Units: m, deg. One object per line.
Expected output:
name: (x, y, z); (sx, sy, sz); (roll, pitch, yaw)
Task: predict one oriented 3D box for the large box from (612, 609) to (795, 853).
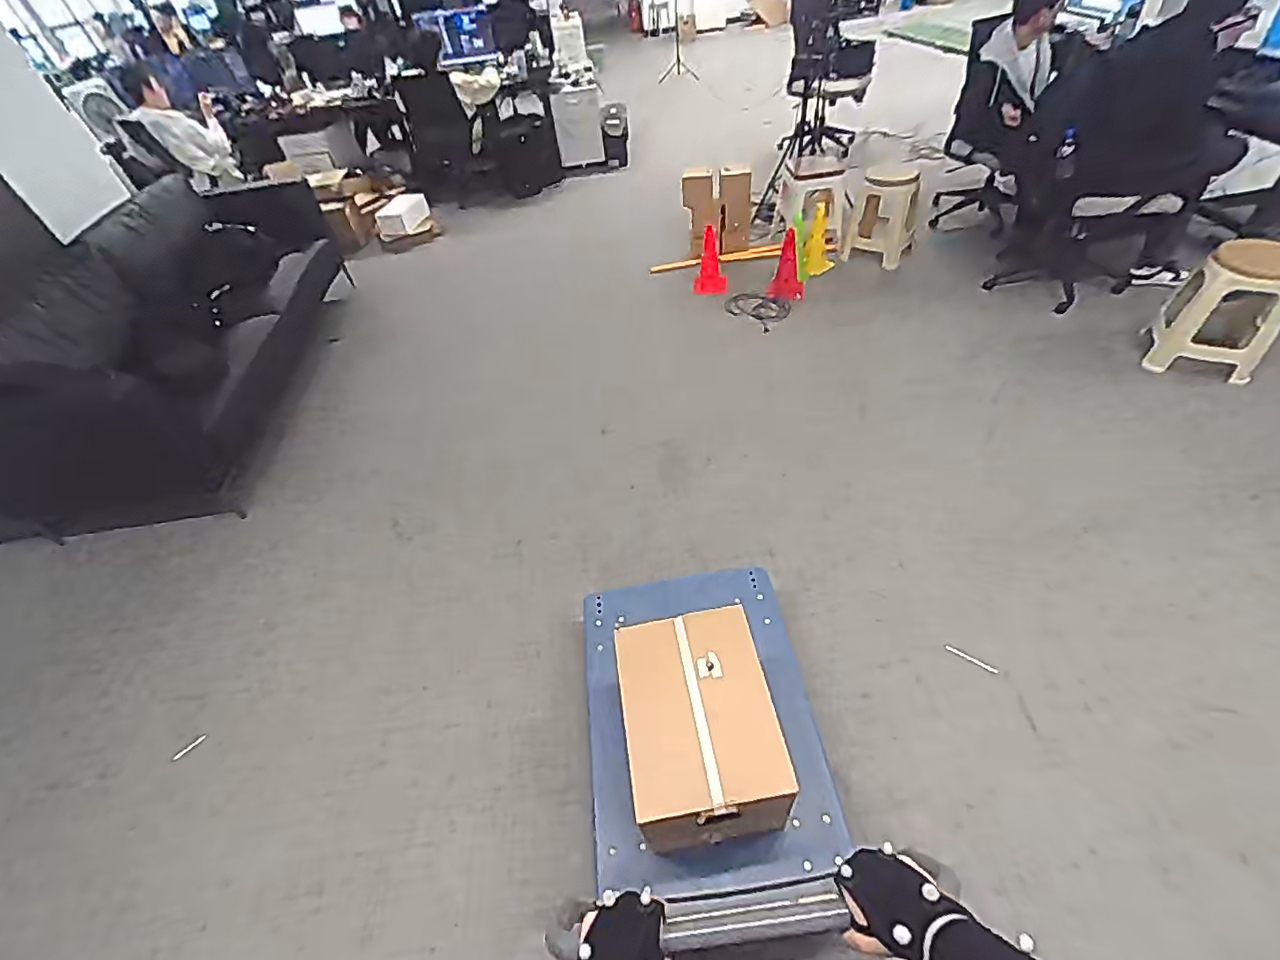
large box: (0.136, 0.578, 1.258); (0.320, 0.320, 0.408); (-11, 46, -1)
